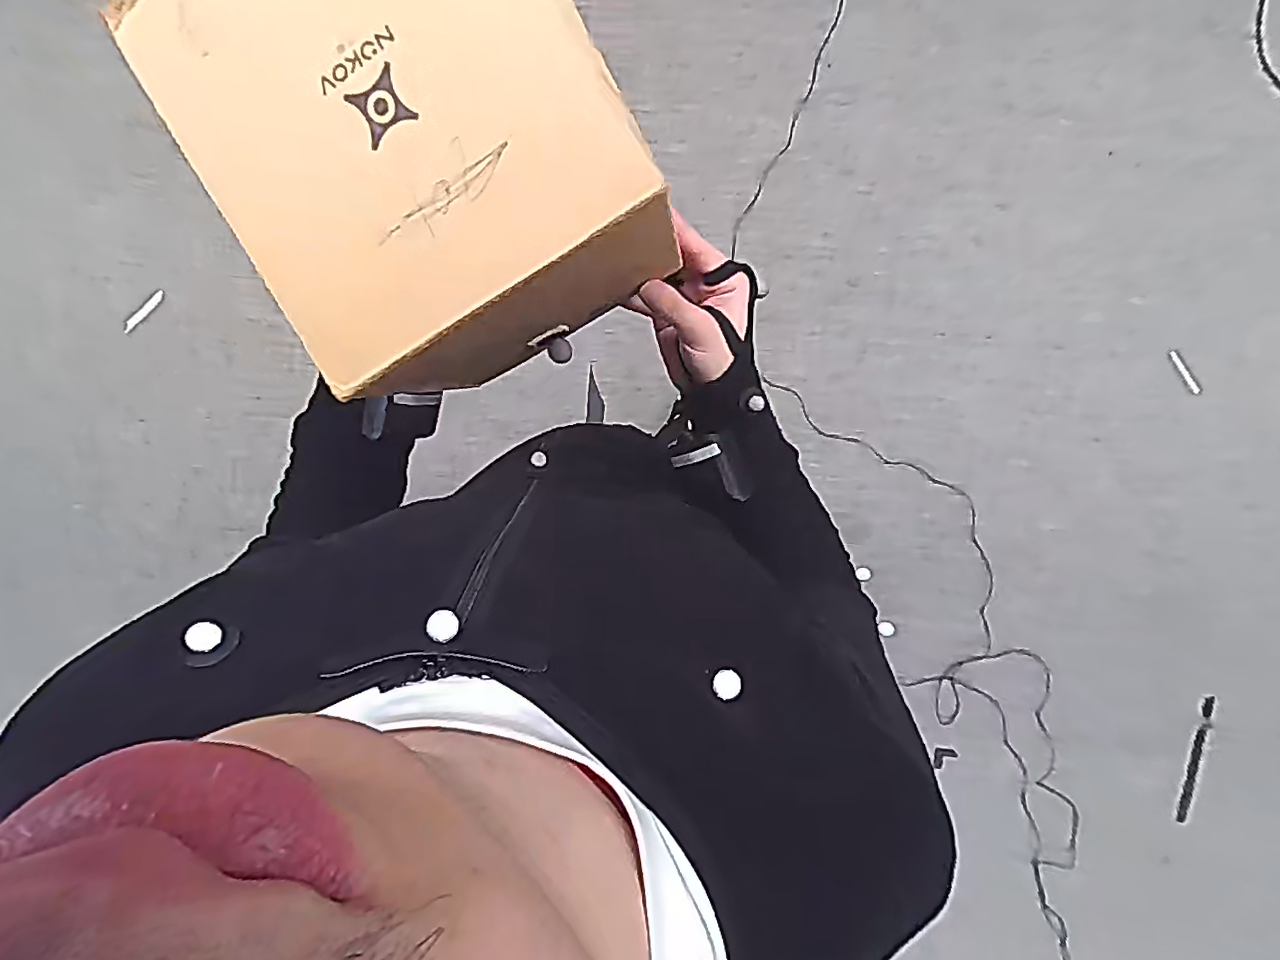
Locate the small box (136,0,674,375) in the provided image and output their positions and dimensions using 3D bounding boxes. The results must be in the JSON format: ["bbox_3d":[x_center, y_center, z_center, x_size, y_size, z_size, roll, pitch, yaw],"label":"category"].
[{"bbox_3d":[-0.092,-0.171,0.299,0.168,0.176,0.179,-28,98,11],"label":"small box"}]
